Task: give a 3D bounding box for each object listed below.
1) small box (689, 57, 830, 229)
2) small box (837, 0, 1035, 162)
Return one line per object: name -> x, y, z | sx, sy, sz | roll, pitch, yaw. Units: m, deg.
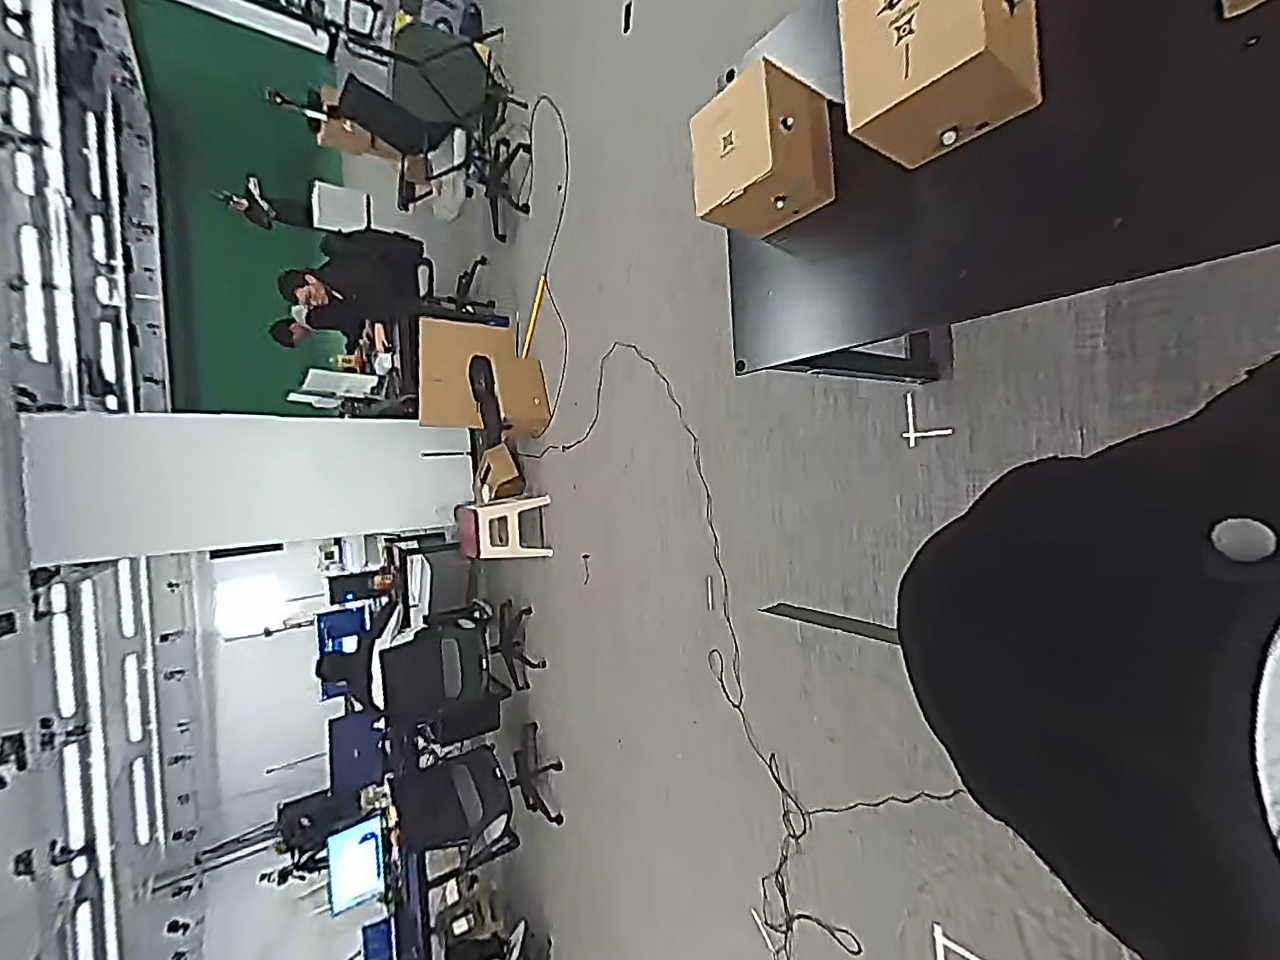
small box -> 0.204, -0.549, 0.917 | 0.168, 0.176, 0.179 | -5, 88, 52
small box -> 0.374, -0.547, 0.686 | 0.168, 0.176, 0.179 | -4, 91, 54
